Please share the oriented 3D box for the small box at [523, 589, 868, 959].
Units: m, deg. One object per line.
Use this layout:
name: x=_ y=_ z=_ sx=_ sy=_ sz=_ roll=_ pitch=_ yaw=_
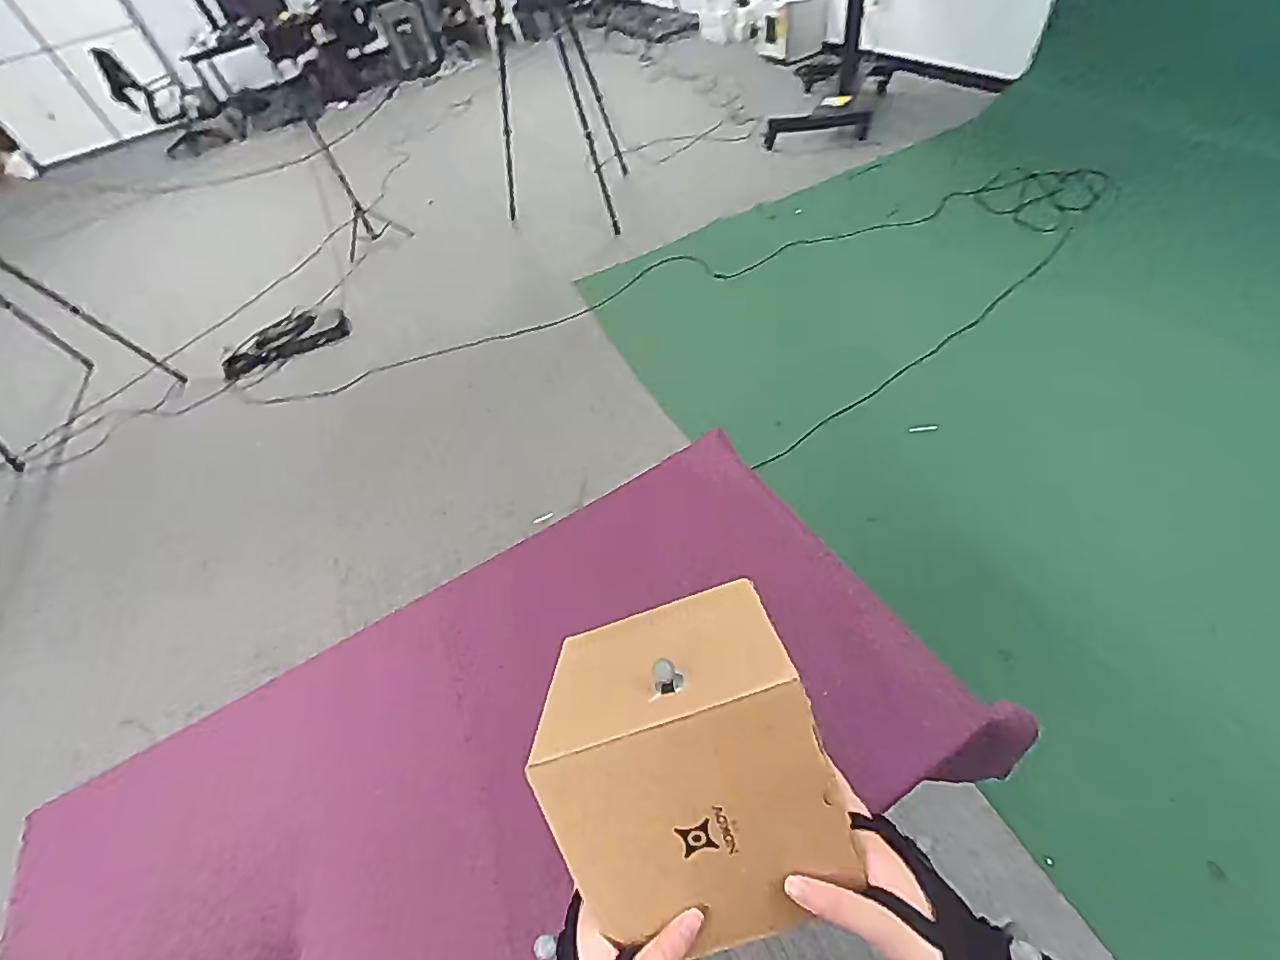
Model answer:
small box: x=0.037 y=0.206 z=0.409 sx=0.179 sy=0.168 sz=0.176 roll=-19 pitch=10 yaw=3
